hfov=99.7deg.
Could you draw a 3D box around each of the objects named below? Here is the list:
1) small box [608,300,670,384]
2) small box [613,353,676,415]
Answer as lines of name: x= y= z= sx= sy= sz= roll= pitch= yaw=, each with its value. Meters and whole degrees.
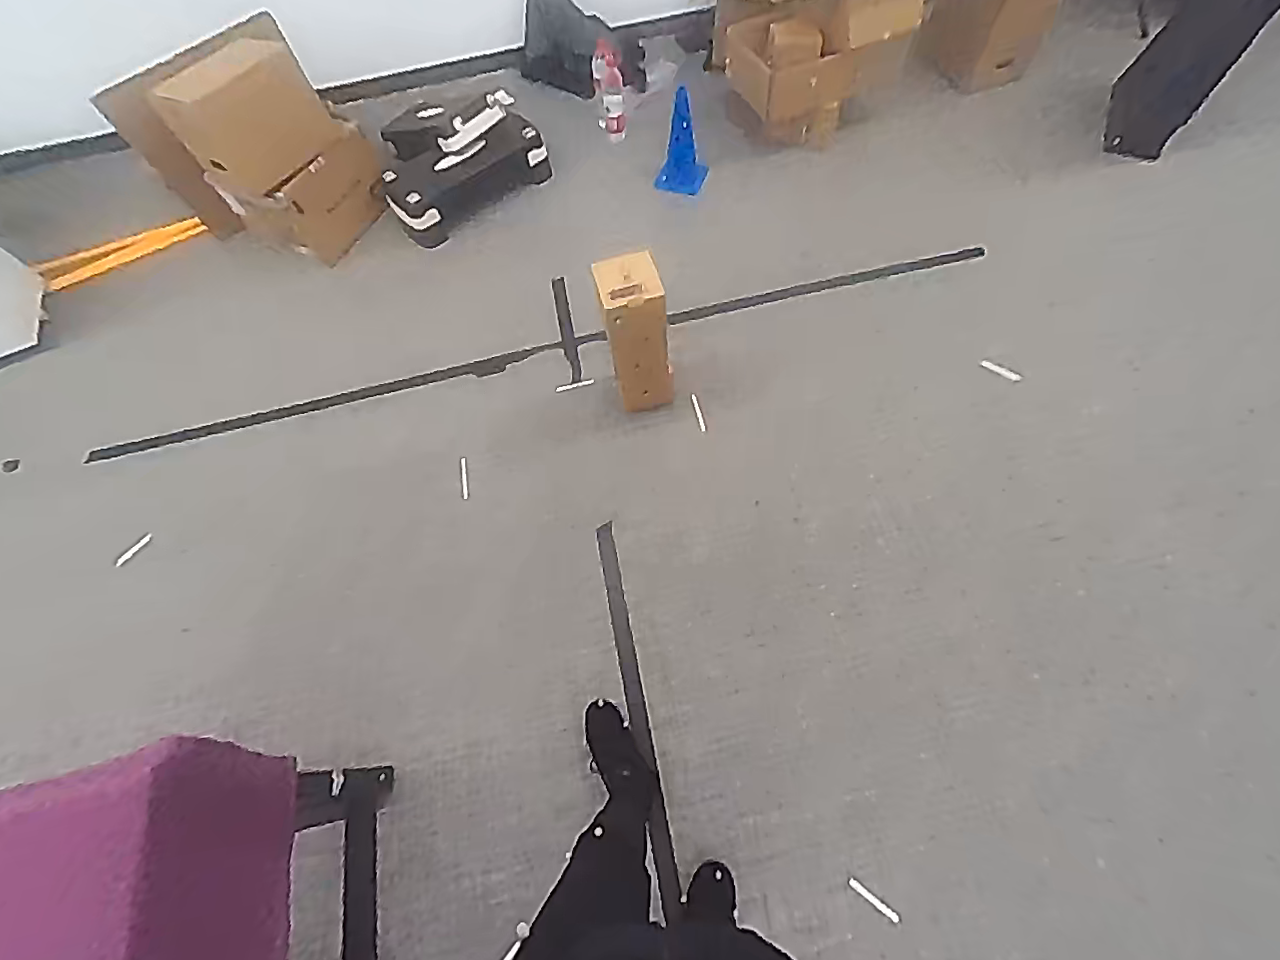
small box: x=-0.002 y=-0.420 z=1.659 sx=0.168 sy=0.176 sz=0.179 roll=-9 pitch=64 yaw=0
small box: x=0.017 y=-0.339 z=1.800 sx=0.179 sy=0.176 sz=0.168 roll=-14 pitch=64 yaw=-1
